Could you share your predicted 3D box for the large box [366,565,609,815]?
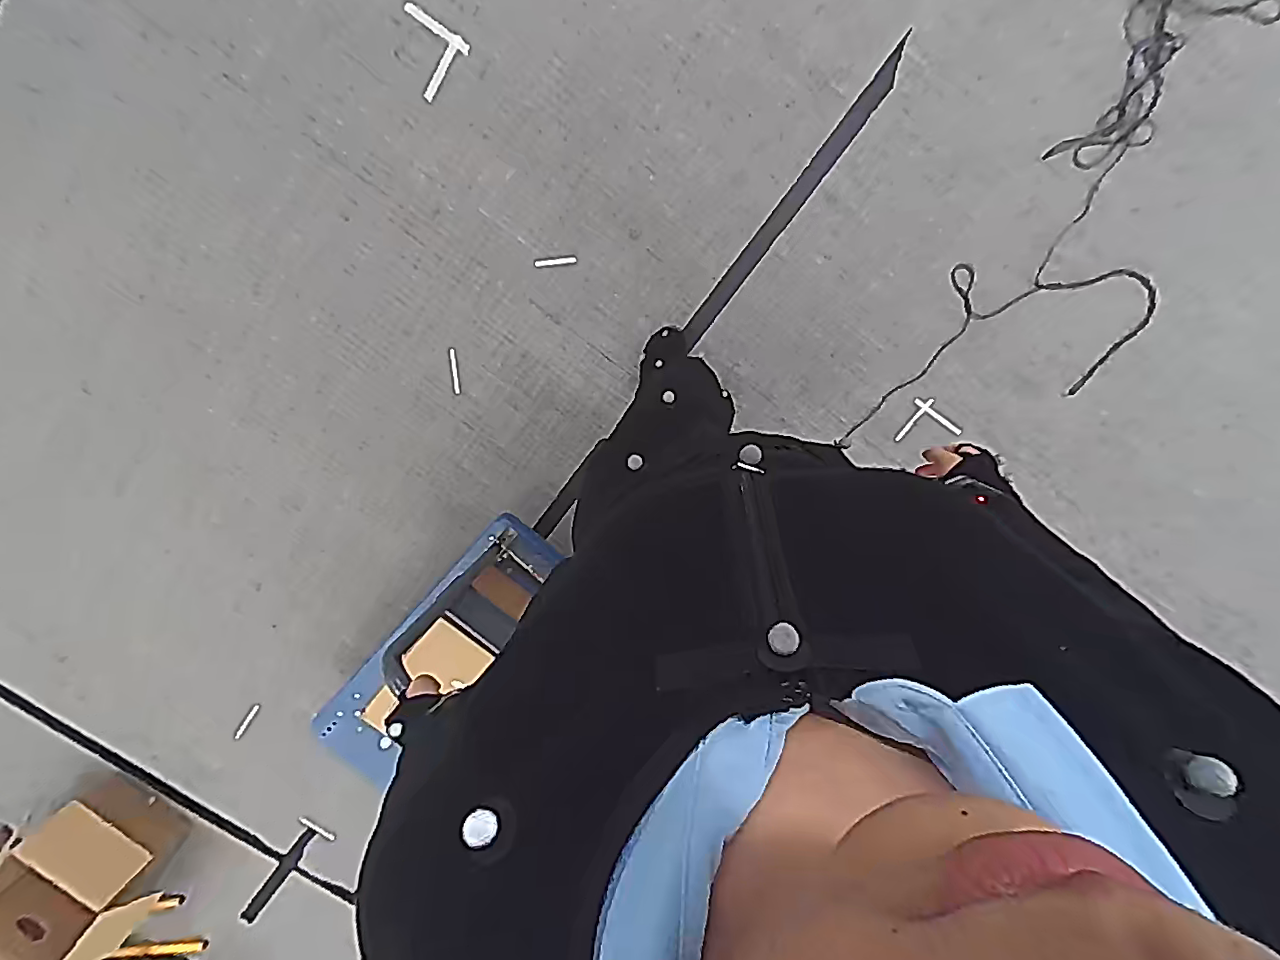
[{"bbox_3d":[-0.334,0.480,1.296,0.408,0.320,0.320,39,100,-5],"label":"large box"}]
